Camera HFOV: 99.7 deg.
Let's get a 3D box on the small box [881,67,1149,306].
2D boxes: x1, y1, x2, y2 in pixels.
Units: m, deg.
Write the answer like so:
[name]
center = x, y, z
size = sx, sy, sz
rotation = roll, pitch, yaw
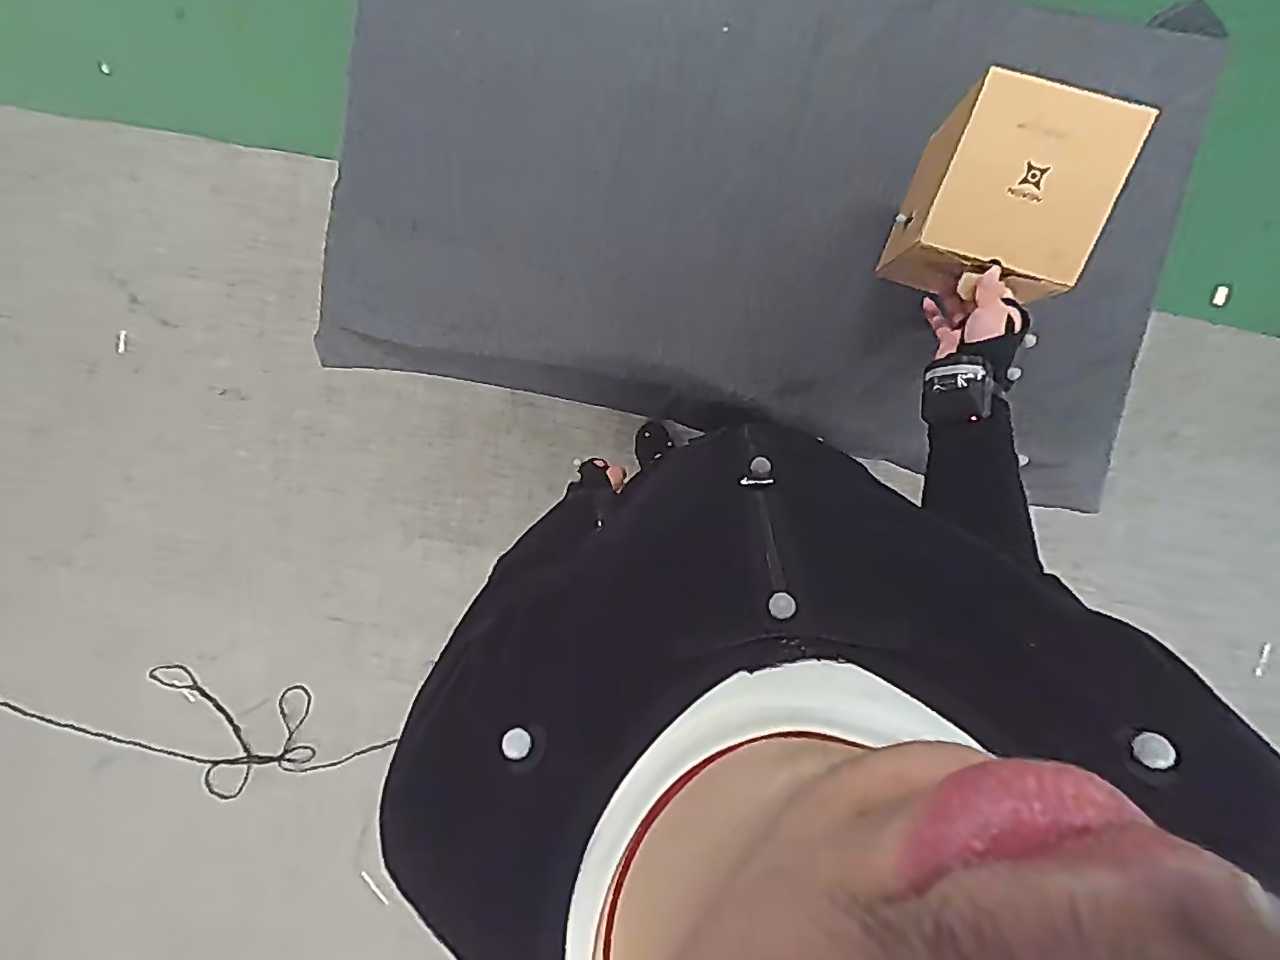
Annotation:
[small box]
center = 0.404, -0.317, 0.626
size = 0.168, 0.176, 0.179
rotation = 19, 101, 3
